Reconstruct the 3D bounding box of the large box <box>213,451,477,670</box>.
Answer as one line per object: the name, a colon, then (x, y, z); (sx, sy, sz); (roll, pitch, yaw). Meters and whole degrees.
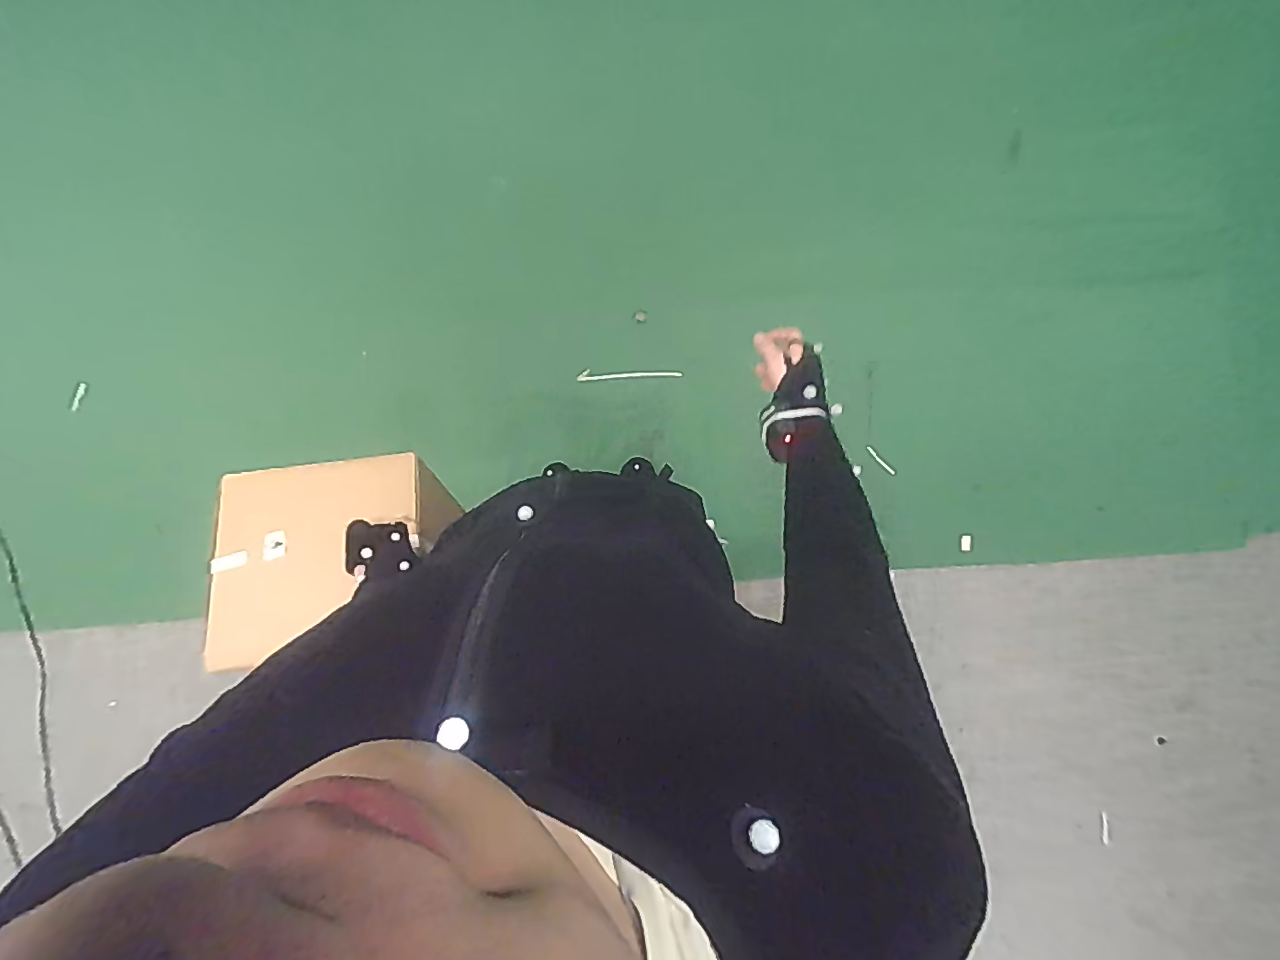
large box: (-0.522, 0.174, 1.036); (0.320, 0.408, 0.320); (-7, 71, -7)
